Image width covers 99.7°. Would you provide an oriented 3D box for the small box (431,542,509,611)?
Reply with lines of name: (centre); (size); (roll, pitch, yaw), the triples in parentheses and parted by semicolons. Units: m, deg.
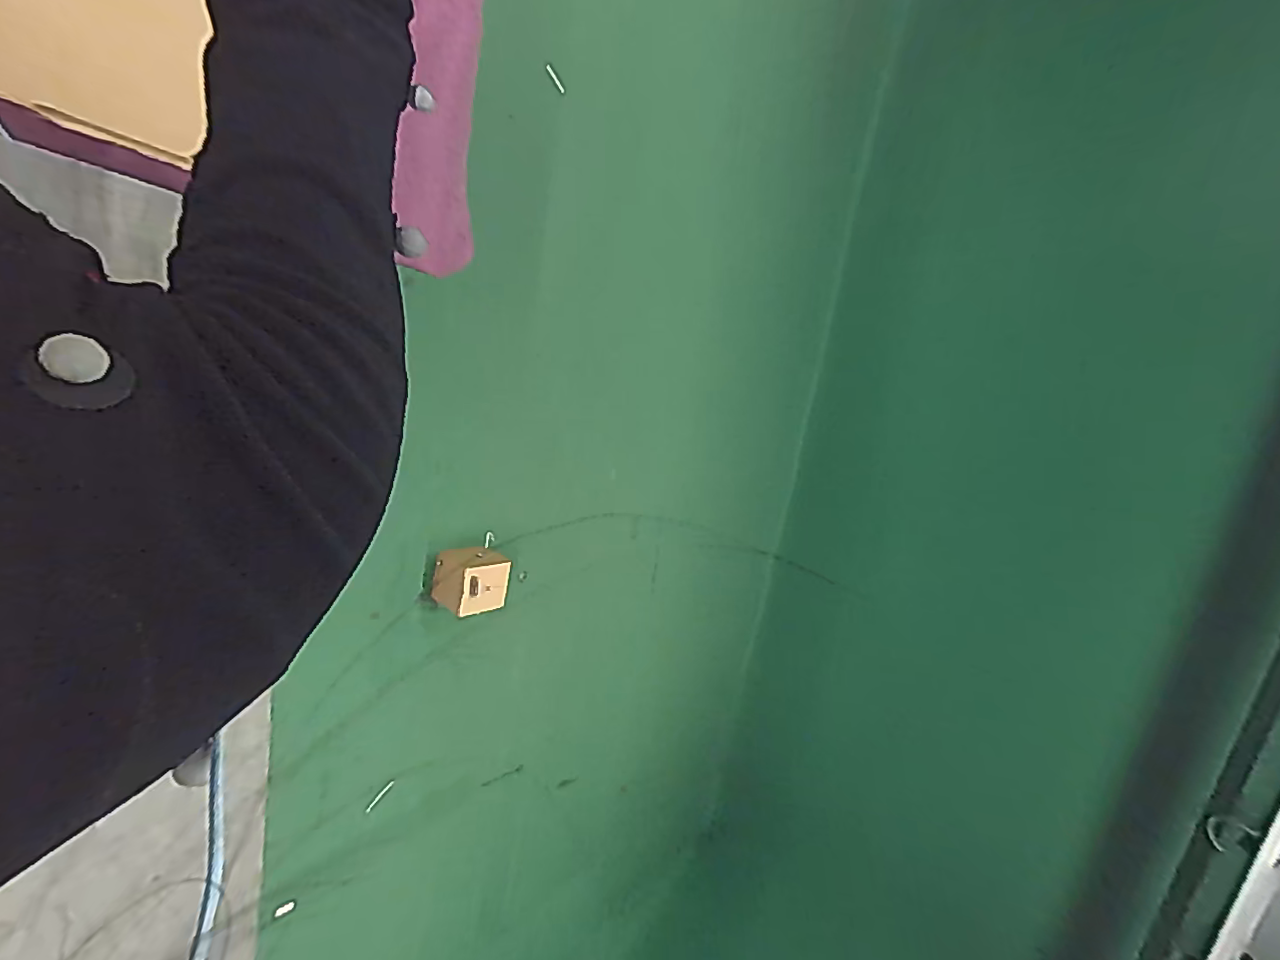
small box: (-0.569, 0.316, 1.799); (0.179, 0.176, 0.168); (0, 106, -52)
